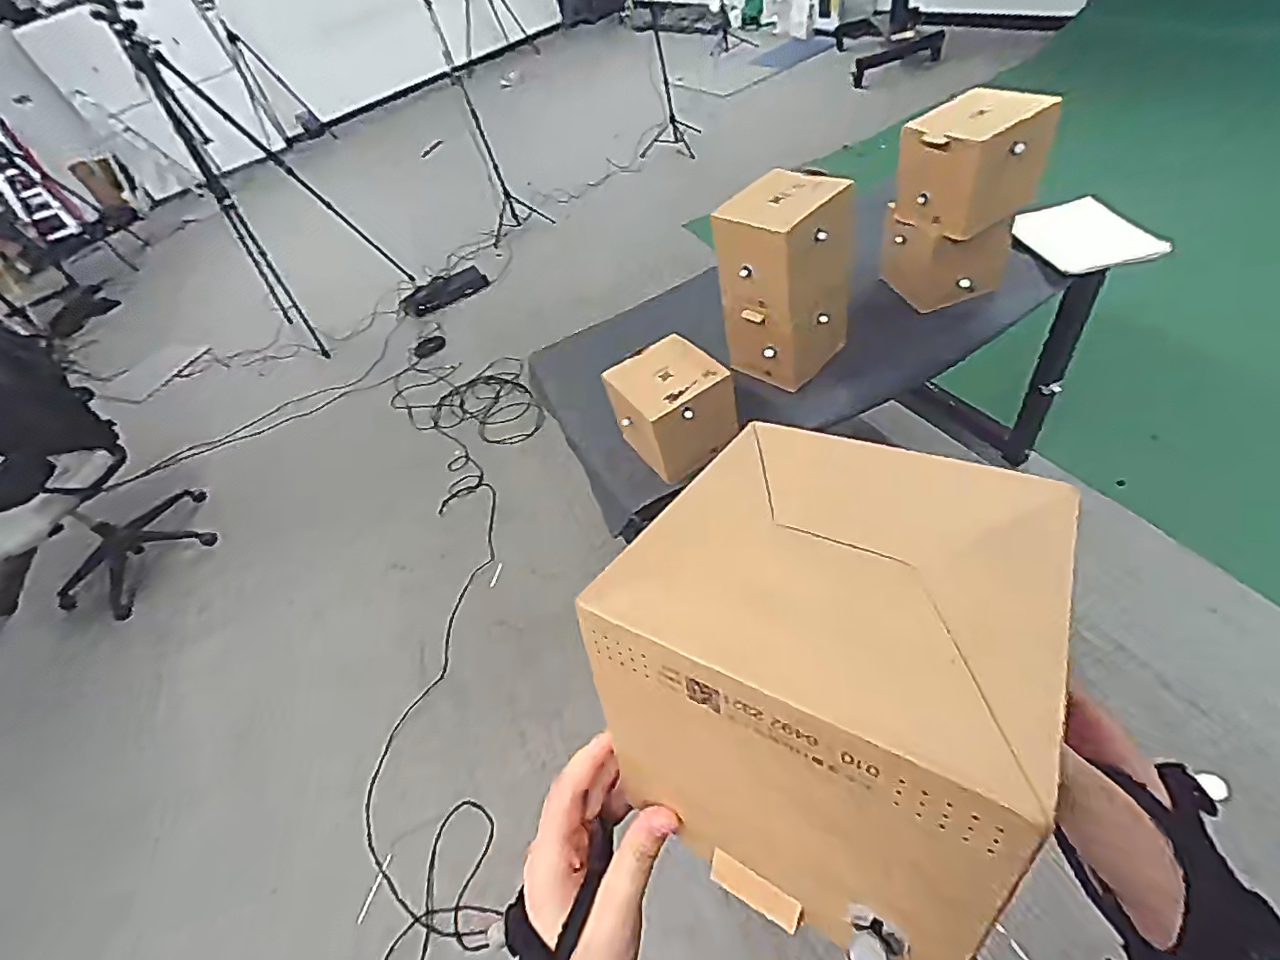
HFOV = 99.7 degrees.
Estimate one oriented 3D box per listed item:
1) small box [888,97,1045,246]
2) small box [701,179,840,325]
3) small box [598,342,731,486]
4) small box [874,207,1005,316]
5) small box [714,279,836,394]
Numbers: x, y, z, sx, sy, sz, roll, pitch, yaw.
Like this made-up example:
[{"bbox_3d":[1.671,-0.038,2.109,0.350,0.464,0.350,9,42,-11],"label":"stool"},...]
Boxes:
[{"bbox_3d":[0.579,-0.563,0.989,0.179,0.176,0.168,-31,47,-8],"label":"small box"},{"bbox_3d":[0.238,-0.406,0.969,0.179,0.176,0.168,-40,51,-17],"label":"small box"},{"bbox_3d":[0.049,-0.121,1.008,0.168,0.176,0.179,-33,48,-12],"label":"small box"},{"bbox_3d":[0.607,-0.473,1.124,0.168,0.176,0.179,-19,47,3],"label":"small box"},{"bbox_3d":[0.276,-0.303,1.092,0.179,0.176,0.168,-42,51,-19],"label":"small box"}]
